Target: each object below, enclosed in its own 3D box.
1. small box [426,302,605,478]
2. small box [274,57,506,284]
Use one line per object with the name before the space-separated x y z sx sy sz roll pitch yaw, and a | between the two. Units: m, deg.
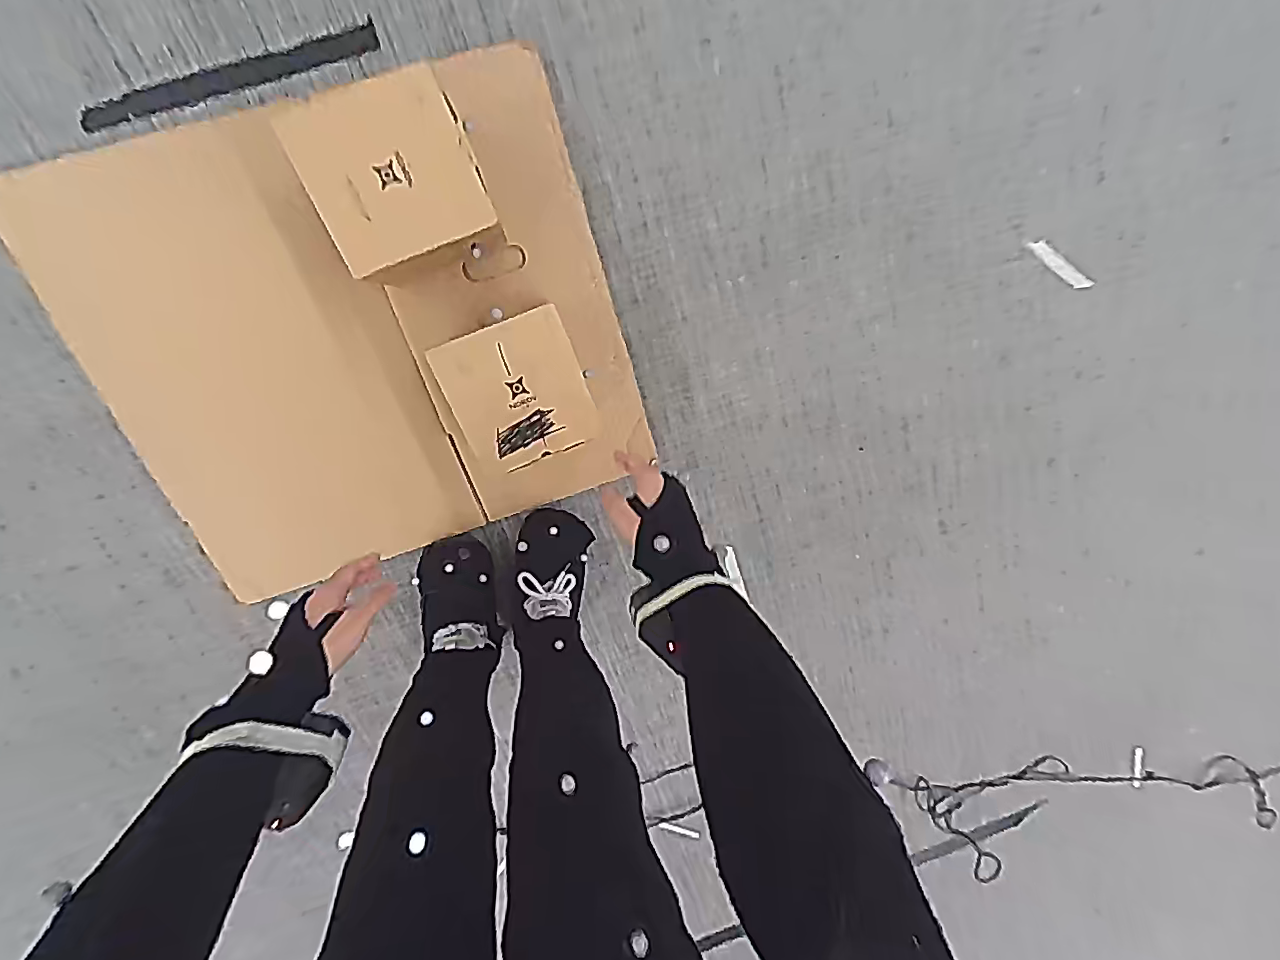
small box | -0.158 -0.130 0.730 0.168 0.176 0.179 -22 110 -3
small box | -0.272 -0.347 0.642 0.179 0.176 0.168 -24 109 -2
